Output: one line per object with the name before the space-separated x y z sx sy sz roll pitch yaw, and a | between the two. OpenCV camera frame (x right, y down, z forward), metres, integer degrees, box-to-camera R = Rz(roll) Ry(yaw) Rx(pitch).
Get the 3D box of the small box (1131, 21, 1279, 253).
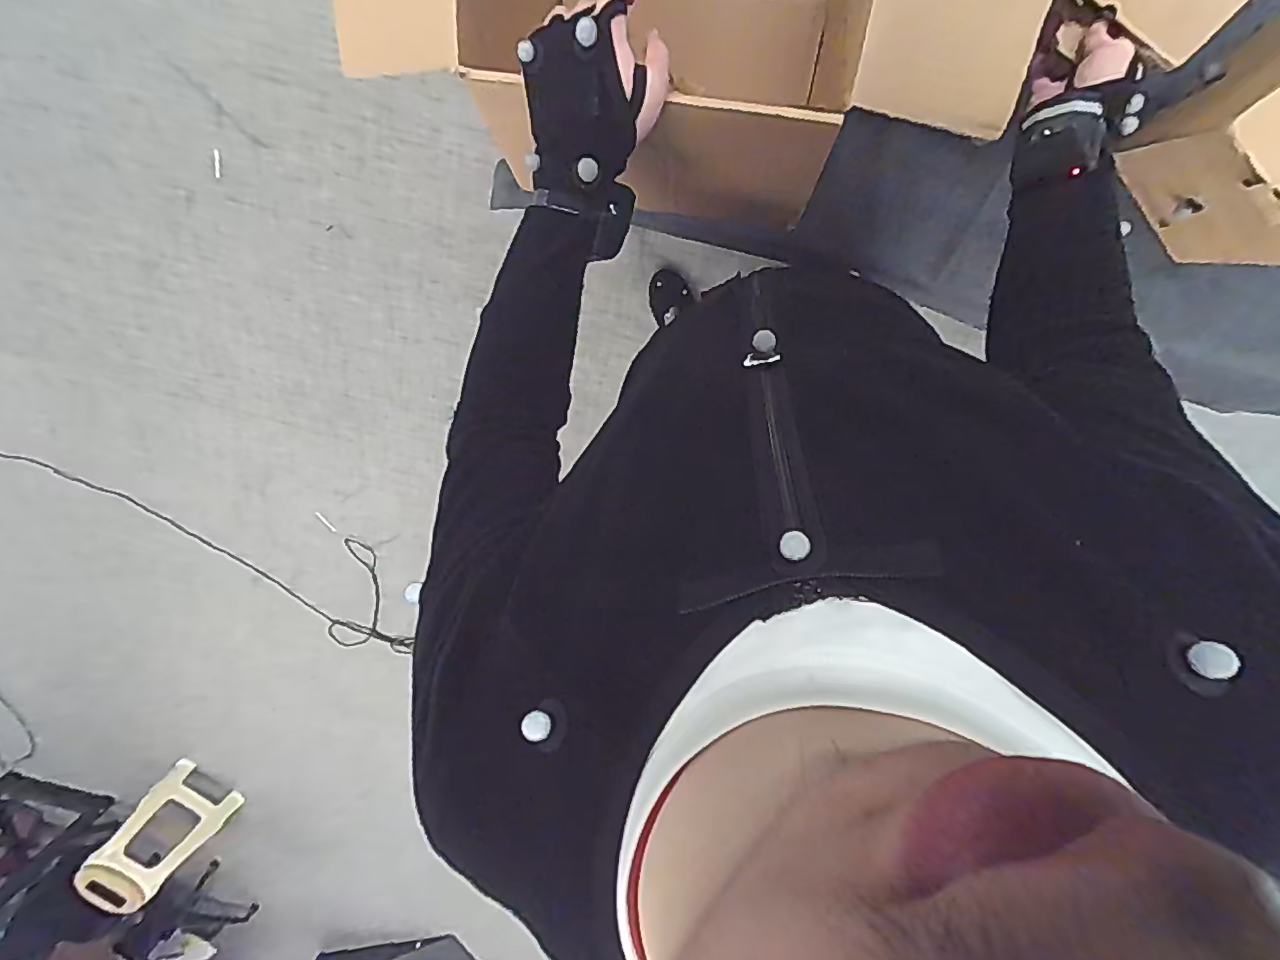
small box | 0.655 -0.347 0.541 0.179 0.176 0.168 -39 103 23
